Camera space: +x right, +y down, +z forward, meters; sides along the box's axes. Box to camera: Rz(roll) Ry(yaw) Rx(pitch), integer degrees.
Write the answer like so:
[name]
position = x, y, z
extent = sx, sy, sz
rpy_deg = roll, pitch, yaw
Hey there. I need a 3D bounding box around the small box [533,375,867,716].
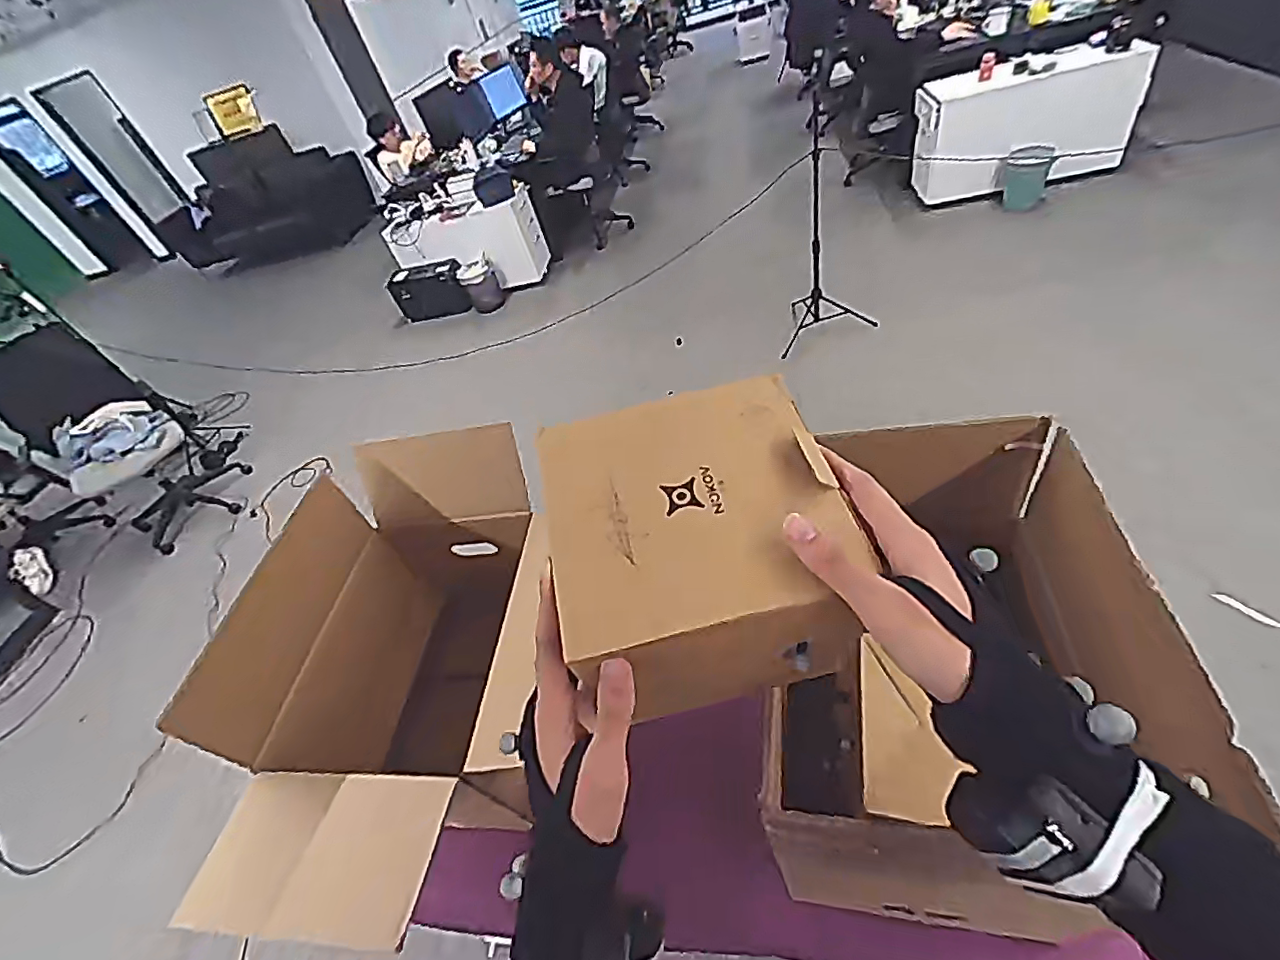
[small box]
position = 0.035, 0.056, 0.398
extent = 0.179, 0.176, 0.168
rpy_deg = -15, 53, 0
